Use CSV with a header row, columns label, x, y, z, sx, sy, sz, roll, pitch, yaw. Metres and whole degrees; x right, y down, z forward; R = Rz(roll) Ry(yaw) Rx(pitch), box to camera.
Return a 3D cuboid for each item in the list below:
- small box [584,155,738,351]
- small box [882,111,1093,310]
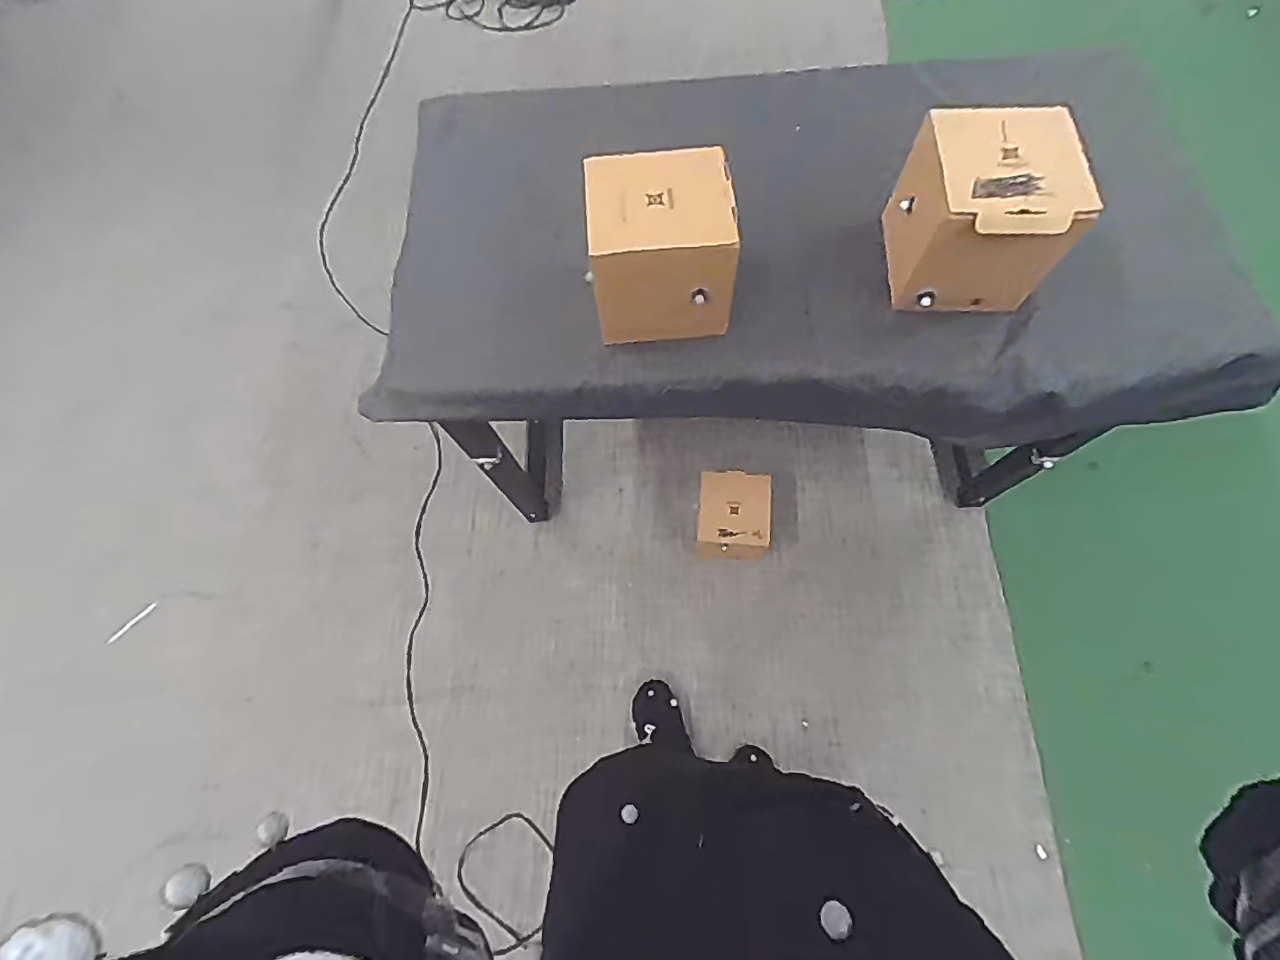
label,x,y,z,sx,sy,sz,roll,pitch,yaw
small box,0.026,-0.294,0.724,0.179,0.176,0.168,-6,66,2
small box,0.435,-0.342,0.711,0.168,0.176,0.179,2,69,5
